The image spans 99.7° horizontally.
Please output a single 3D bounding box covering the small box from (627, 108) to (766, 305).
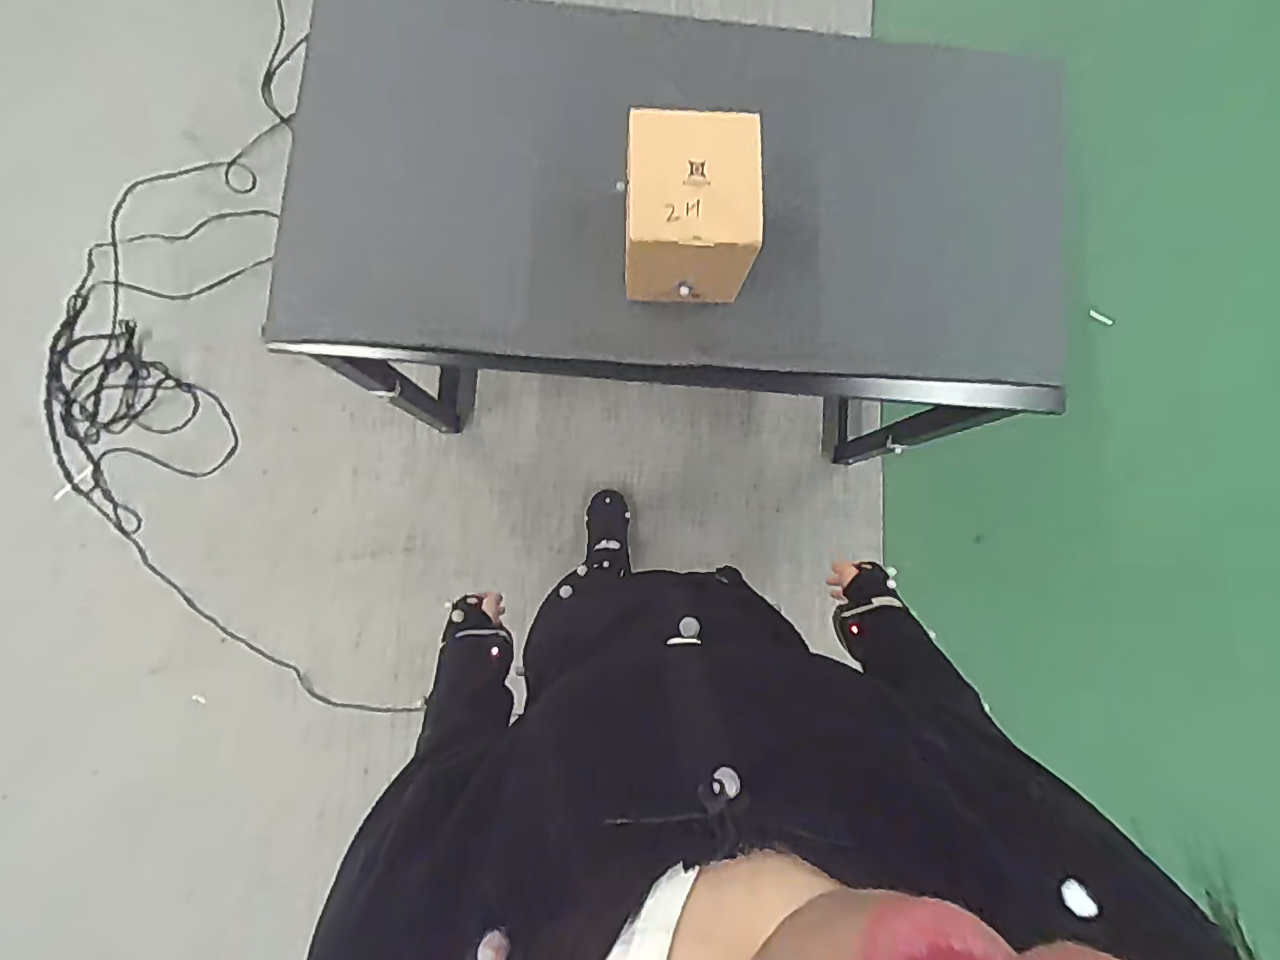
[{"bbox_3d":[0.067,-0.360,0.736,0.168,0.176,0.179,0,83,-2],"label":"small box"}]
